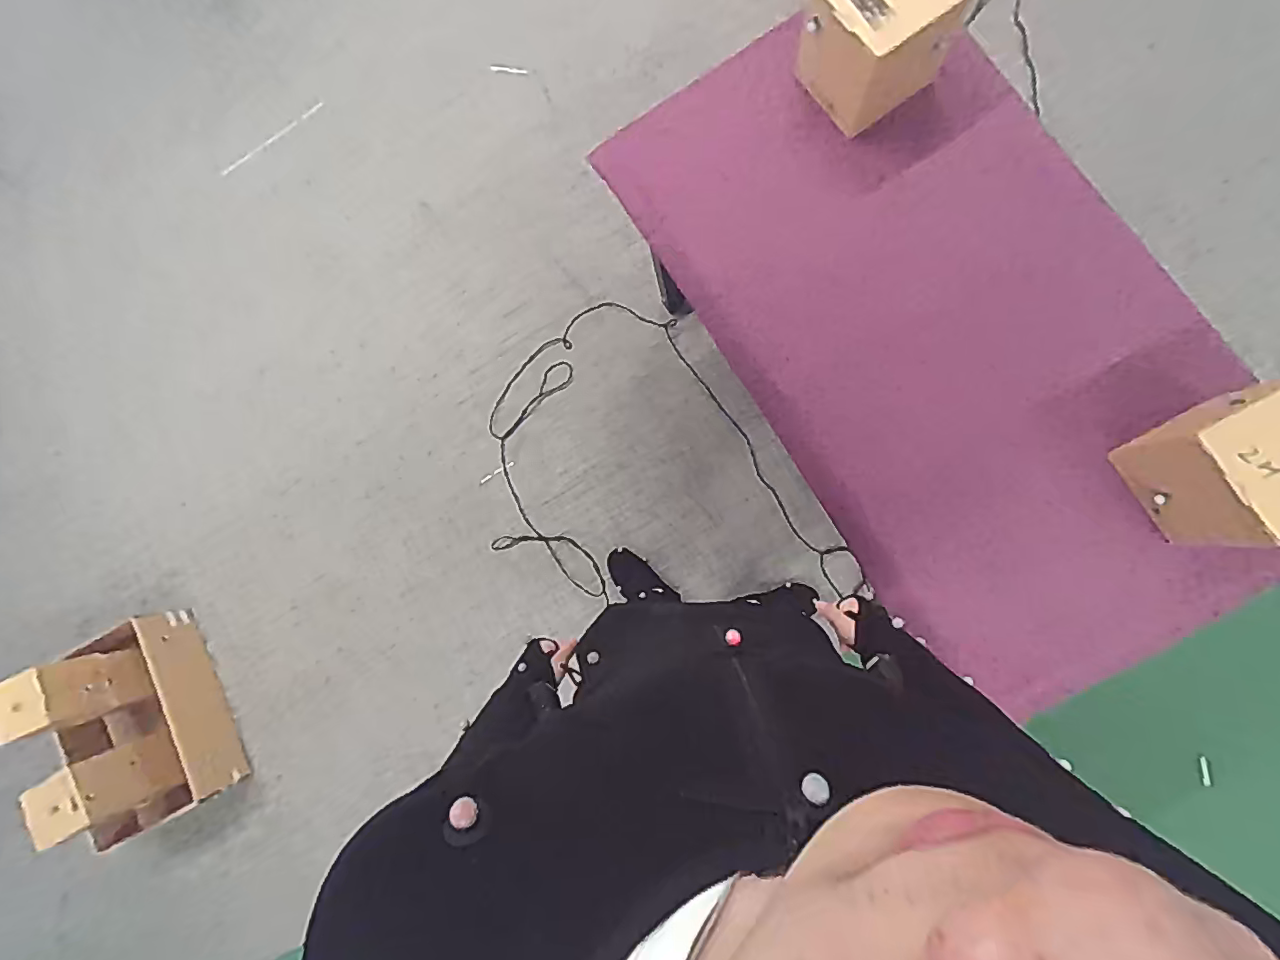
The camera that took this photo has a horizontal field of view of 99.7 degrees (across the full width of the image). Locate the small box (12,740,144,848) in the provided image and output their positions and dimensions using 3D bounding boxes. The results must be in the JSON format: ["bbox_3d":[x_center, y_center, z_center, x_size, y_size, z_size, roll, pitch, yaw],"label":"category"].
[{"bbox_3d":[-1.561,0.867,1.509,0.179,0.176,0.168,-31,83,4],"label":"small box"}]

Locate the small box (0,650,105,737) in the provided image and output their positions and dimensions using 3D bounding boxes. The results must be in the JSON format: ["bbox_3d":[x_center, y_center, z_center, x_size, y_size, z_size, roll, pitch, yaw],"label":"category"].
[{"bbox_3d":[-1.711,0.610,1.550,0.179,0.176,0.168,-25,83,3],"label":"small box"}]

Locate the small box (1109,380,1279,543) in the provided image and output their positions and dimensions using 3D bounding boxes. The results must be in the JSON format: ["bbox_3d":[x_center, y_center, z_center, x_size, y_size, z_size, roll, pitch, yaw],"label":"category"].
[{"bbox_3d":[0.832,-0.025,0.756,0.179,0.176,0.168,-29,80,5],"label":"small box"}]
